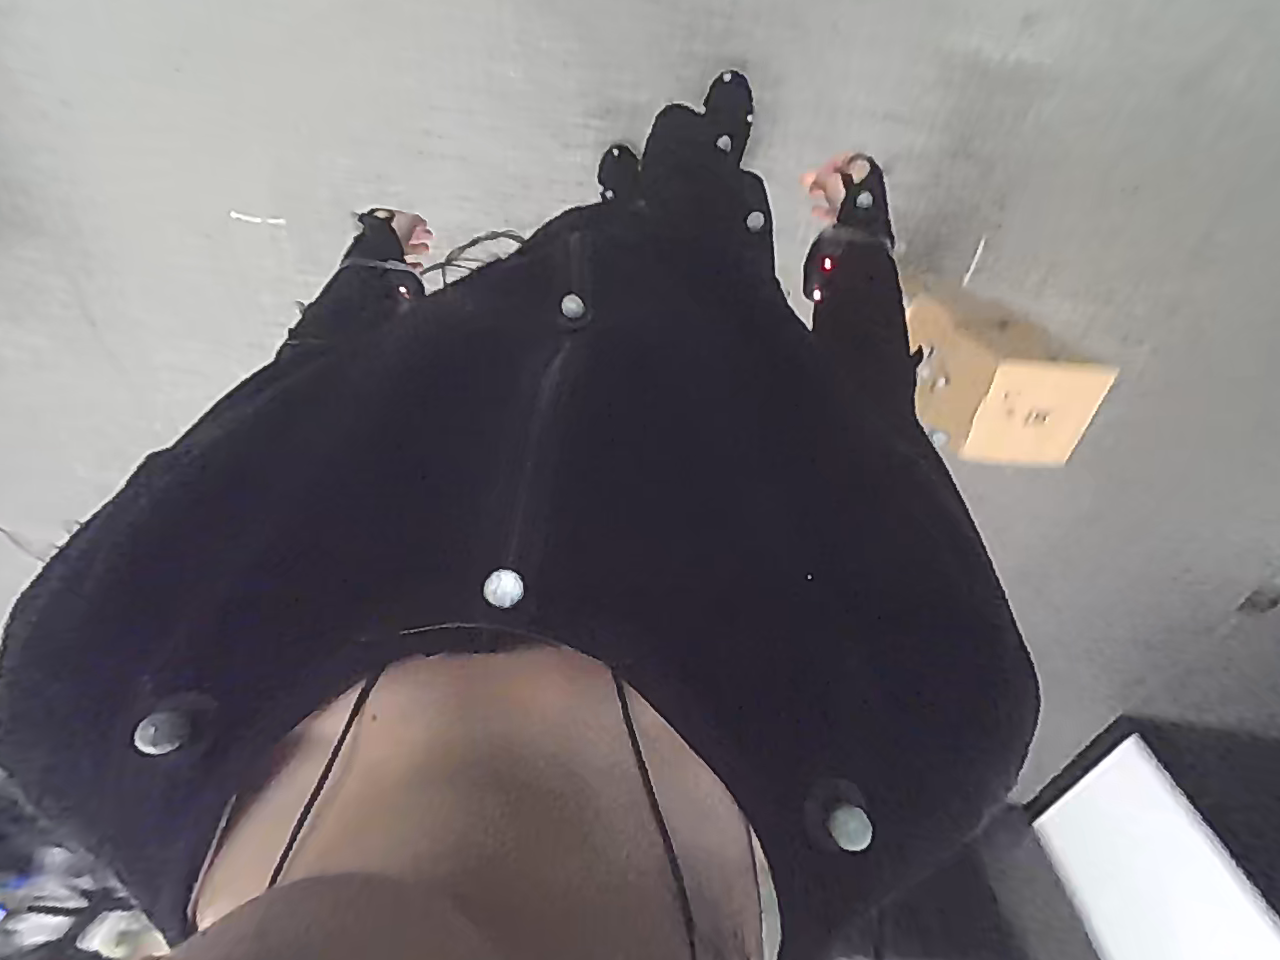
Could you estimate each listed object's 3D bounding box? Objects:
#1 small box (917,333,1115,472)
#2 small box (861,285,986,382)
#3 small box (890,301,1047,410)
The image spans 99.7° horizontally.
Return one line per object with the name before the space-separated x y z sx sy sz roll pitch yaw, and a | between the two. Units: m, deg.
small box | 0.597 -0.132 0.887 0.179 0.176 0.168 5 123 -1
small box | 0.602 -0.312 1.164 0.179 0.176 0.168 6 125 -1
small box | 0.603 -0.226 1.023 0.168 0.176 0.179 6 124 -2
